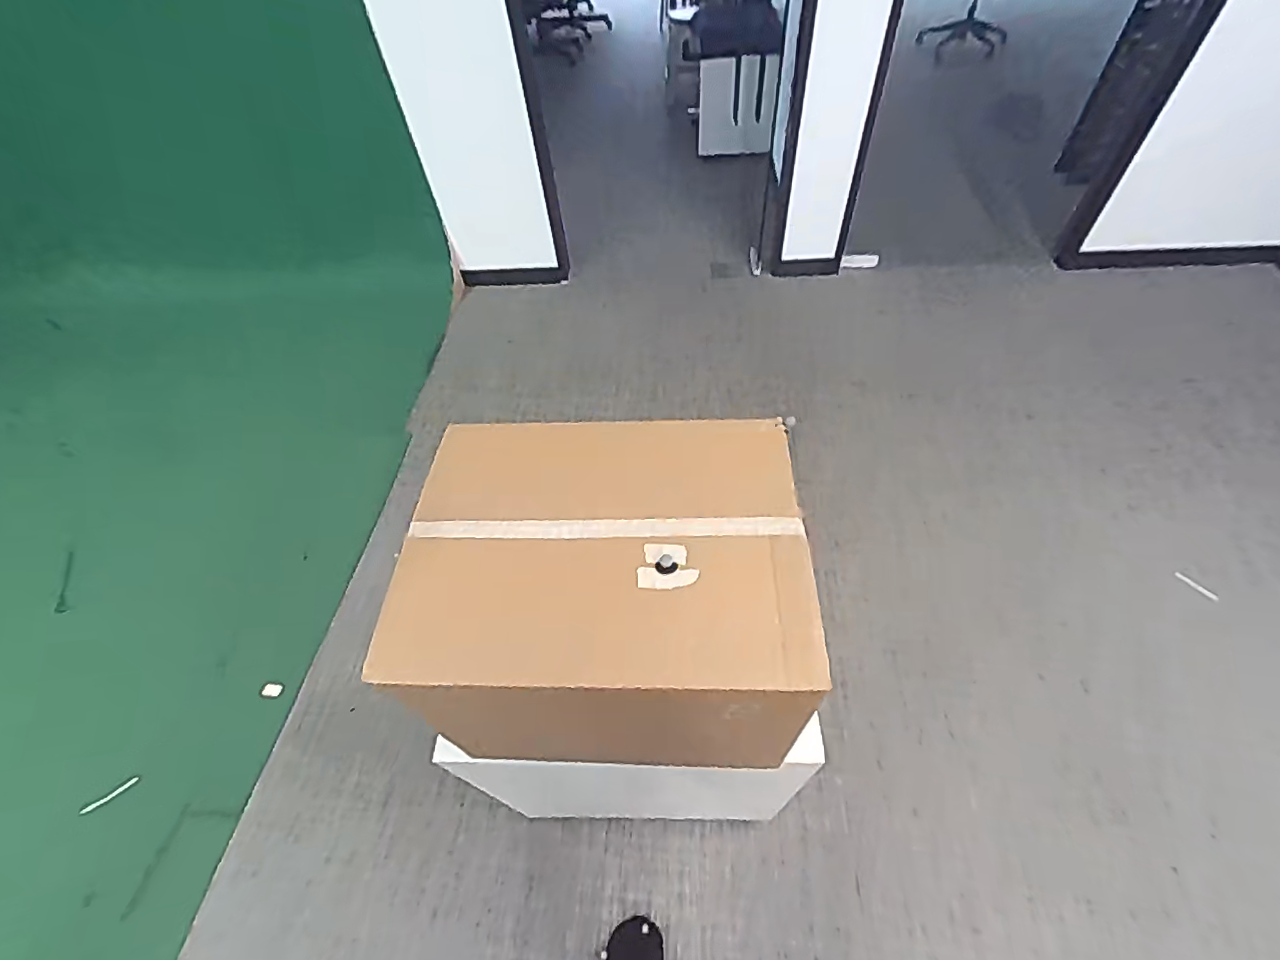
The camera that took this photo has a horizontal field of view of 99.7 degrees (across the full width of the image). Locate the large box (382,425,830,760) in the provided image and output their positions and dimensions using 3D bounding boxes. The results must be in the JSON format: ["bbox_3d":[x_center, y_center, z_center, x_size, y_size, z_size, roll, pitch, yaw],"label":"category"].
[{"bbox_3d":[-0.025,0.148,0.678,0.408,0.320,0.320,0,52,3],"label":"large box"}]
